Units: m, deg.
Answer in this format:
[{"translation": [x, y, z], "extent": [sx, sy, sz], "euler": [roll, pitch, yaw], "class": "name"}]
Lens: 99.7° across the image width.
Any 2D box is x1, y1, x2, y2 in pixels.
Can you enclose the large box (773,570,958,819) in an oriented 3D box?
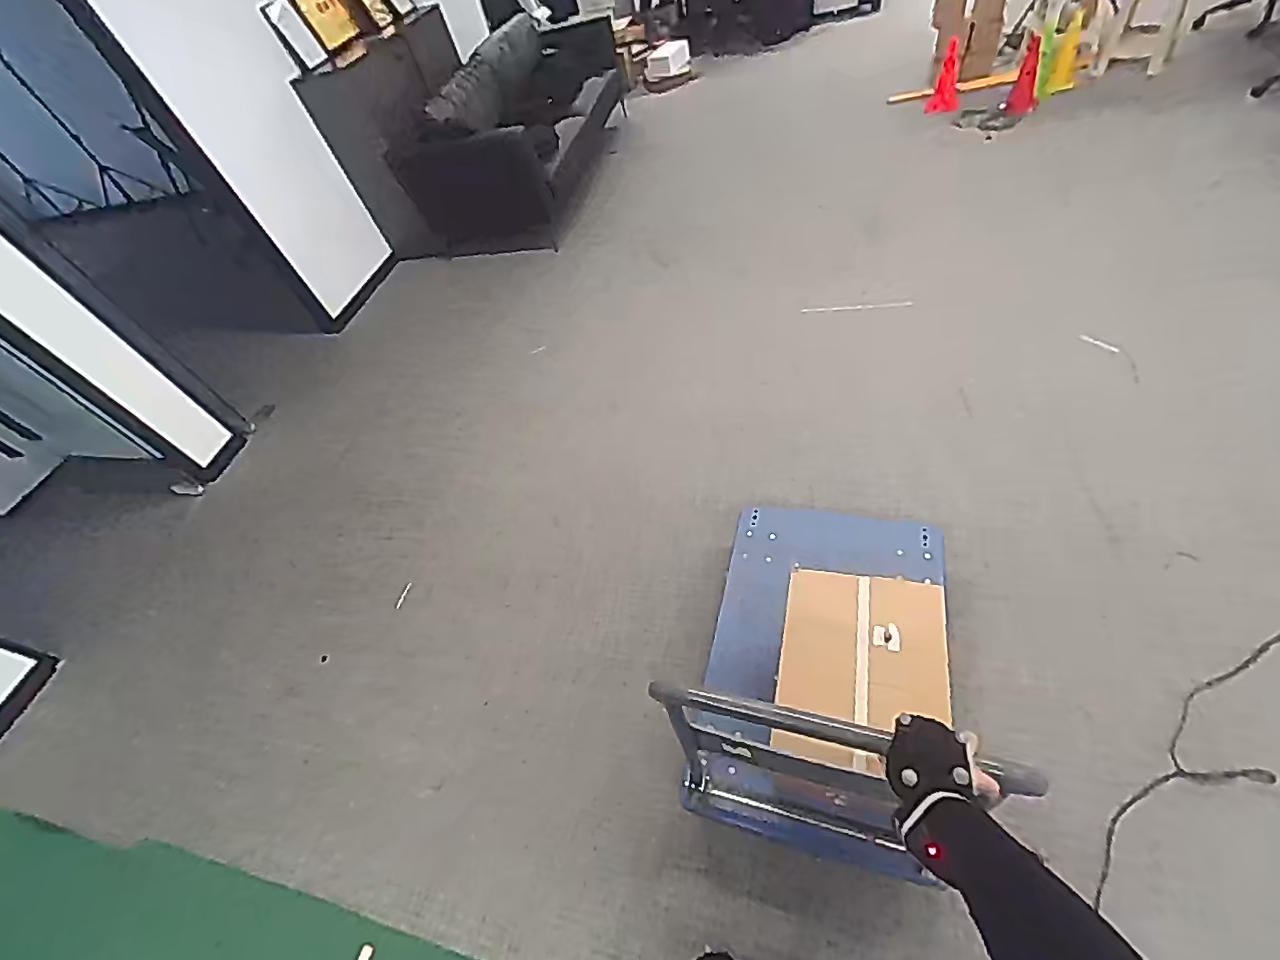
[{"translation": [0.474, 0.463, 1.188], "extent": [0.320, 0.320, 0.408], "euler": [5, 52, 18], "class": "large box"}]
